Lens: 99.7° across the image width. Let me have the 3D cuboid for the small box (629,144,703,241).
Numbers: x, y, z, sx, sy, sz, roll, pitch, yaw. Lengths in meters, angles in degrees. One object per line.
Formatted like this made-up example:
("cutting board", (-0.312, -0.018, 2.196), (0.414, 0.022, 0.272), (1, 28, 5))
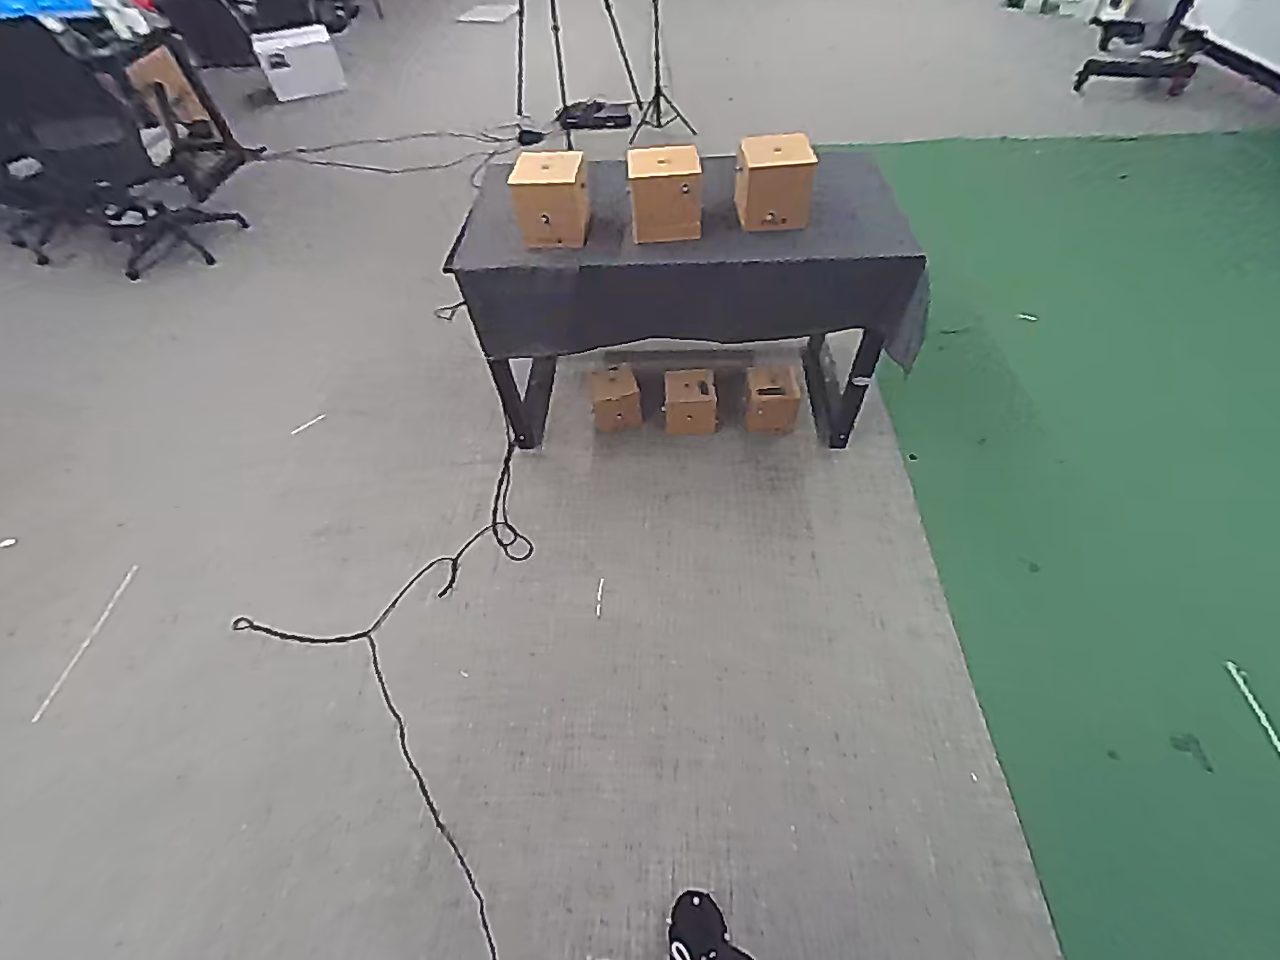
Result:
("small box", (0.066, -0.732, 1.385), (0.179, 0.176, 0.168), (-3, 52, 1))

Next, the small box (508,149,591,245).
("small box", (-0.223, -0.726, 1.396), (0.168, 0.176, 0.179), (2, 53, 5))

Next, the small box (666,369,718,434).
("small box", (0.183, -0.281, 1.945), (0.179, 0.176, 0.168), (-2, 52, 4))

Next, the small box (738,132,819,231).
("small box", (0.347, -0.764, 1.388), (0.168, 0.176, 0.179), (-2, 53, 3))
